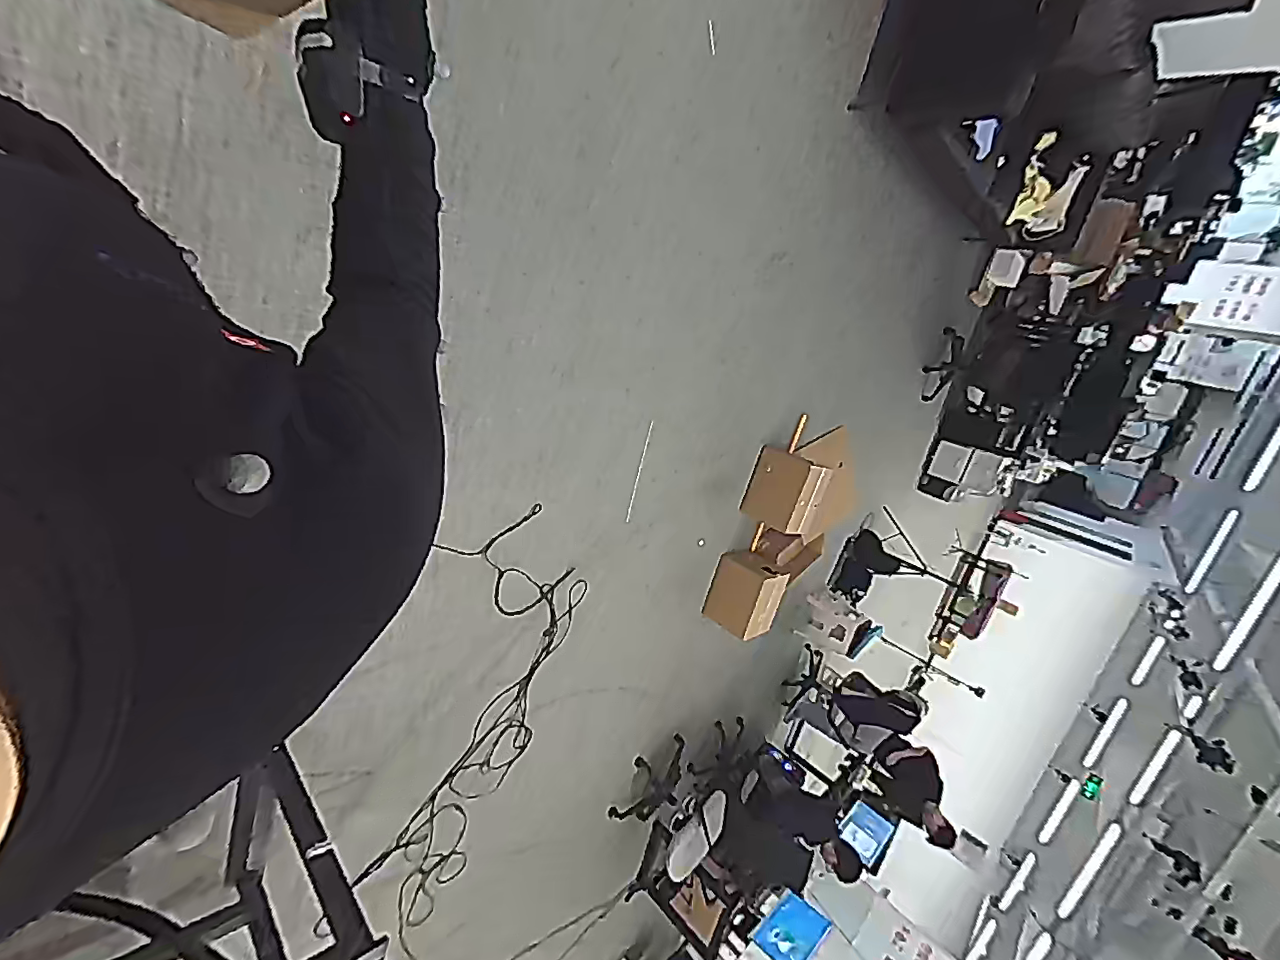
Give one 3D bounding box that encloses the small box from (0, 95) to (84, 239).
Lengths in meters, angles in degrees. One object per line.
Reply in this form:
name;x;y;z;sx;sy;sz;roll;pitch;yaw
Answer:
small box;-1.023;-0.513;0.851;0.168;0.176;0.179;-2;118;-59
